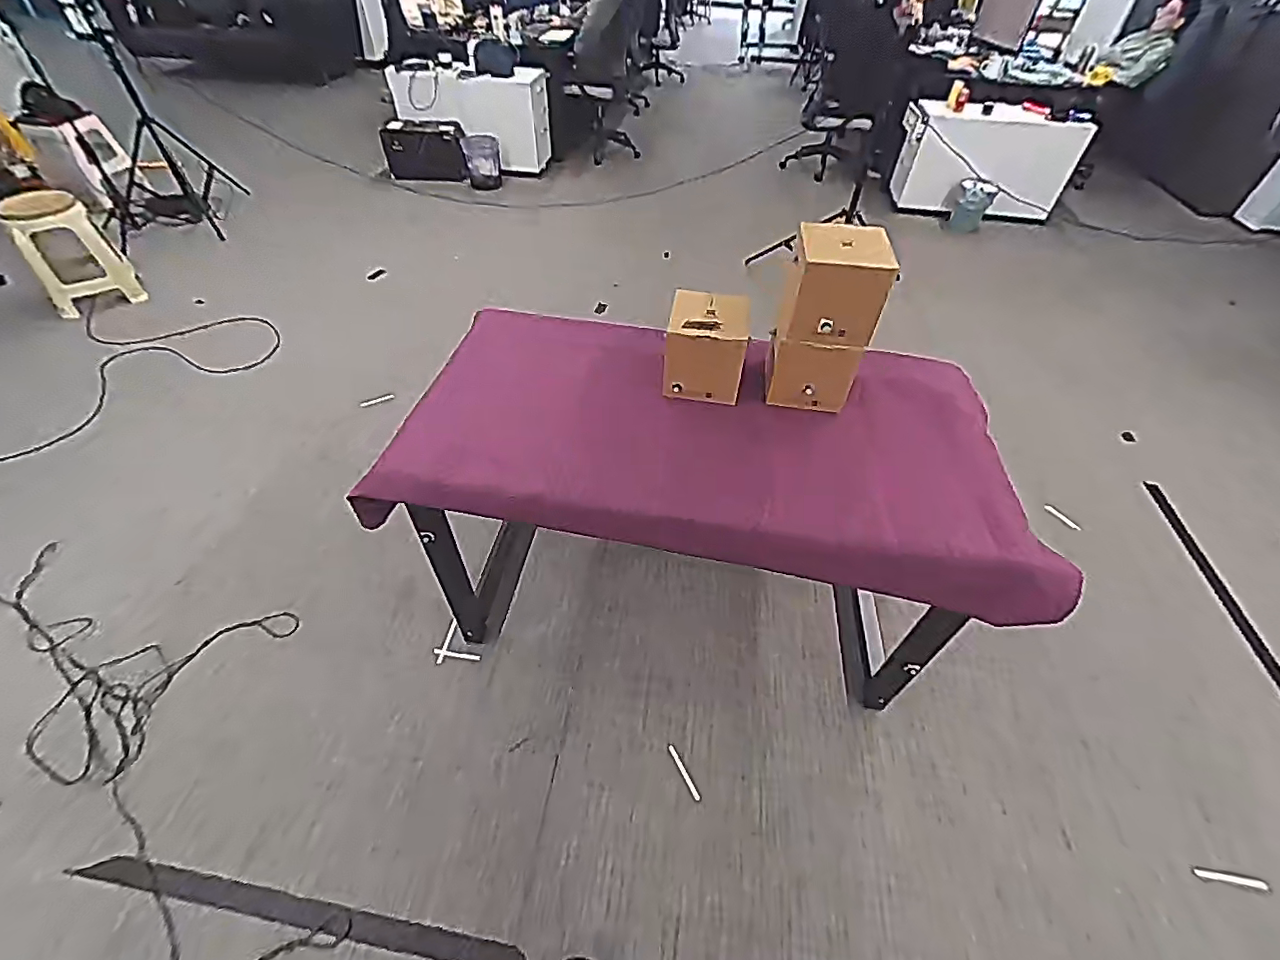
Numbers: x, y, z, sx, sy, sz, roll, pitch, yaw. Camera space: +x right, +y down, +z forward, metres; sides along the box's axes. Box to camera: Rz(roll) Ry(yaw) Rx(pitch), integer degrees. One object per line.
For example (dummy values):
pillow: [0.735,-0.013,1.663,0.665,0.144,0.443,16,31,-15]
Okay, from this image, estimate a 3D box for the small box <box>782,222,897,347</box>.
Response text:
small box: [0.385,-0.389,1.079,0.168,0.176,0.179,5,49,4]

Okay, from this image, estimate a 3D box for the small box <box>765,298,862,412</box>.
small box: [0.373,-0.277,1.196,0.168,0.176,0.179,8,48,5]

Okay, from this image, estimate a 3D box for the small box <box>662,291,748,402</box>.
small box: [0.142,-0.293,1.201,0.168,0.176,0.179,8,48,4]
